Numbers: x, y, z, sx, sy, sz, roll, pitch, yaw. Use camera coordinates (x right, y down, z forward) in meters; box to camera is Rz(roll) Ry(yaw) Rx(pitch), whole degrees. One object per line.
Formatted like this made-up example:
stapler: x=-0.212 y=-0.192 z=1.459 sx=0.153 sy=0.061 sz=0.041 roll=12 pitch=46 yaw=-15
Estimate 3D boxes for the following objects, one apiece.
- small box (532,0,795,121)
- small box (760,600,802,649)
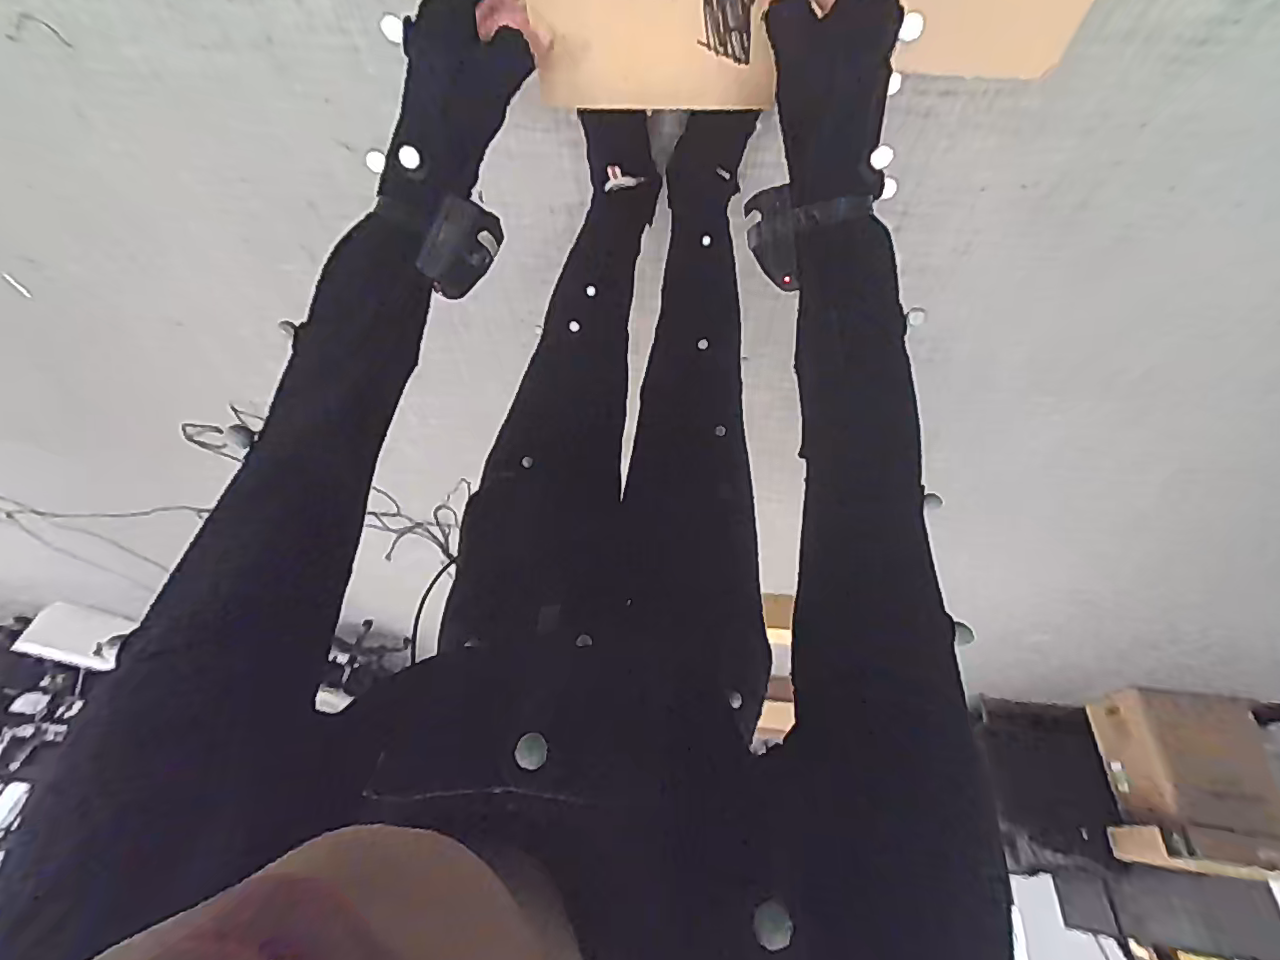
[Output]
small box: x=0.023 y=-0.386 z=0.384 sx=0.179 sy=0.176 sz=0.168 roll=6 pitch=148 yaw=7
small box: x=0.632 y=0.650 z=2.438 sx=0.168 sy=0.176 sz=0.179 roll=1 pitch=145 yaw=9
